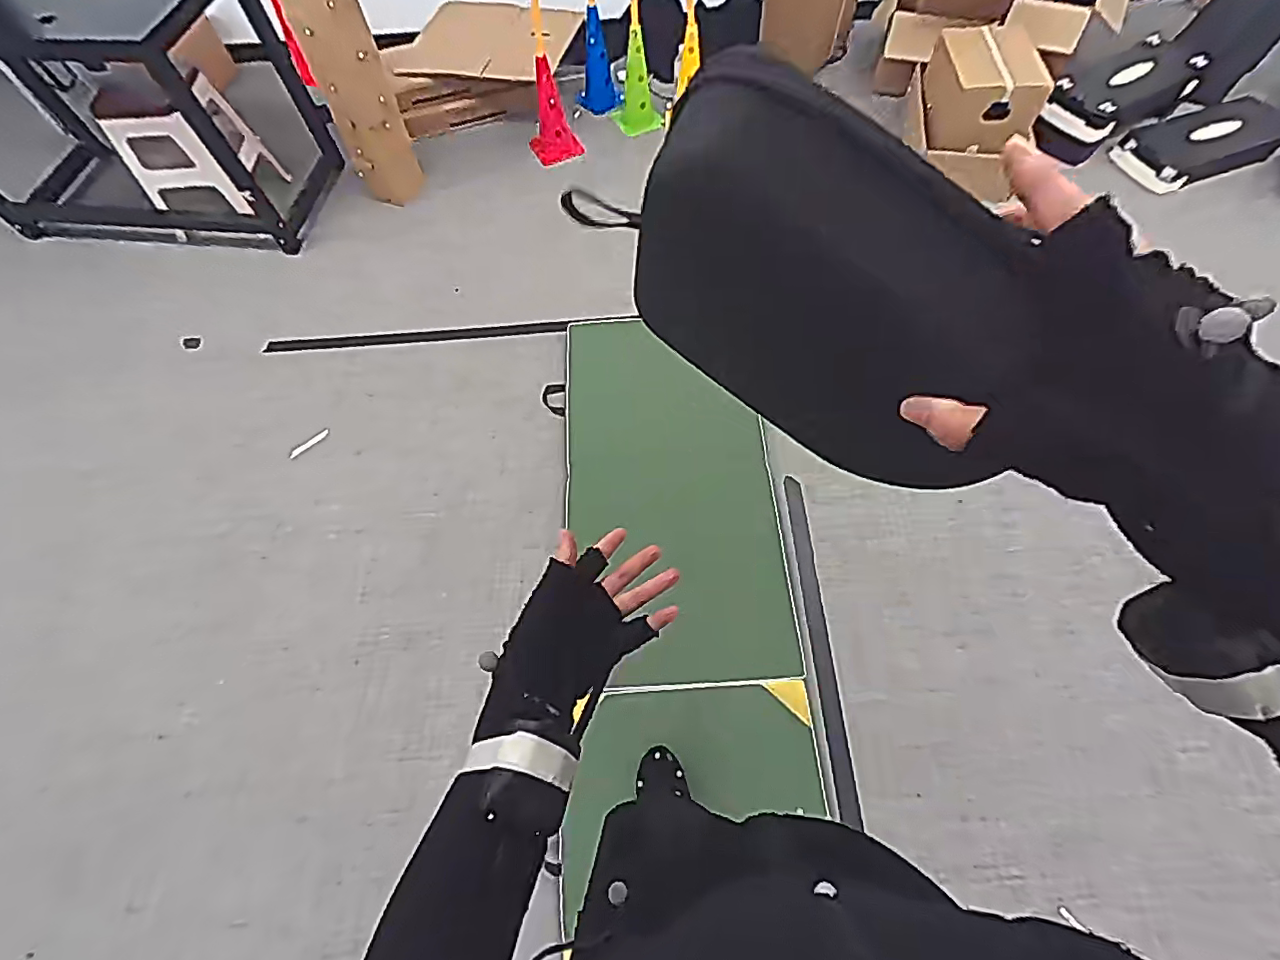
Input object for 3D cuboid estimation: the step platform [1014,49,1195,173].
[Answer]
[{"bbox_3d":[1.946,-1.555,2.267,0.684,0.204,0.286,-30,66,-12],"label":"step platform"}]
